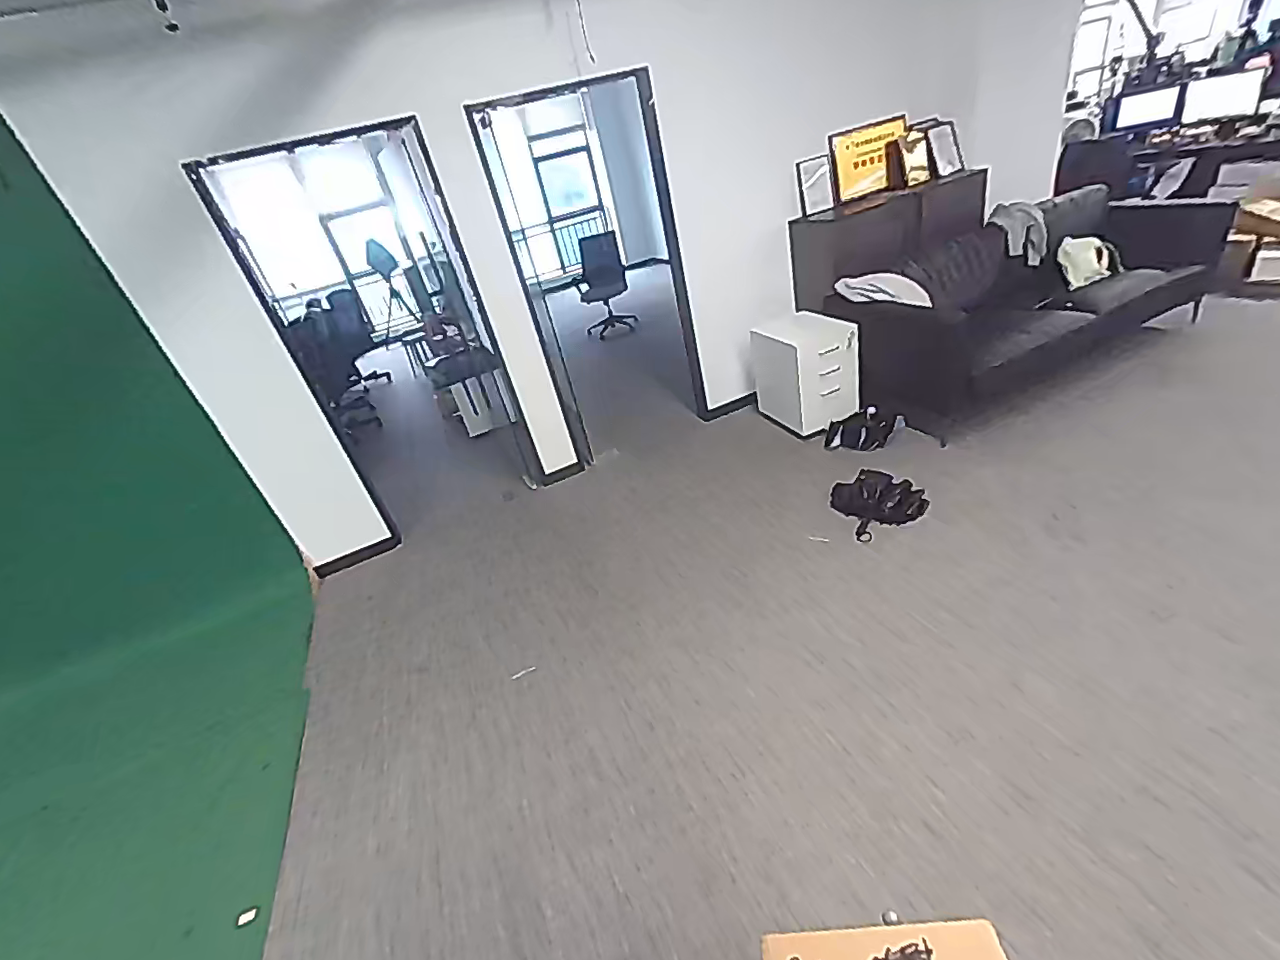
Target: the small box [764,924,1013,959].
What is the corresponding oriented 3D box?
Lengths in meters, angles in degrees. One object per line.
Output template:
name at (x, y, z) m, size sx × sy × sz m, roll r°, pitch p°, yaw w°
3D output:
small box at (0.186, 0.435, 0.362) m, size 0.168 × 0.176 × 0.179 m, roll -10°, pitch 35°, yaw 8°
